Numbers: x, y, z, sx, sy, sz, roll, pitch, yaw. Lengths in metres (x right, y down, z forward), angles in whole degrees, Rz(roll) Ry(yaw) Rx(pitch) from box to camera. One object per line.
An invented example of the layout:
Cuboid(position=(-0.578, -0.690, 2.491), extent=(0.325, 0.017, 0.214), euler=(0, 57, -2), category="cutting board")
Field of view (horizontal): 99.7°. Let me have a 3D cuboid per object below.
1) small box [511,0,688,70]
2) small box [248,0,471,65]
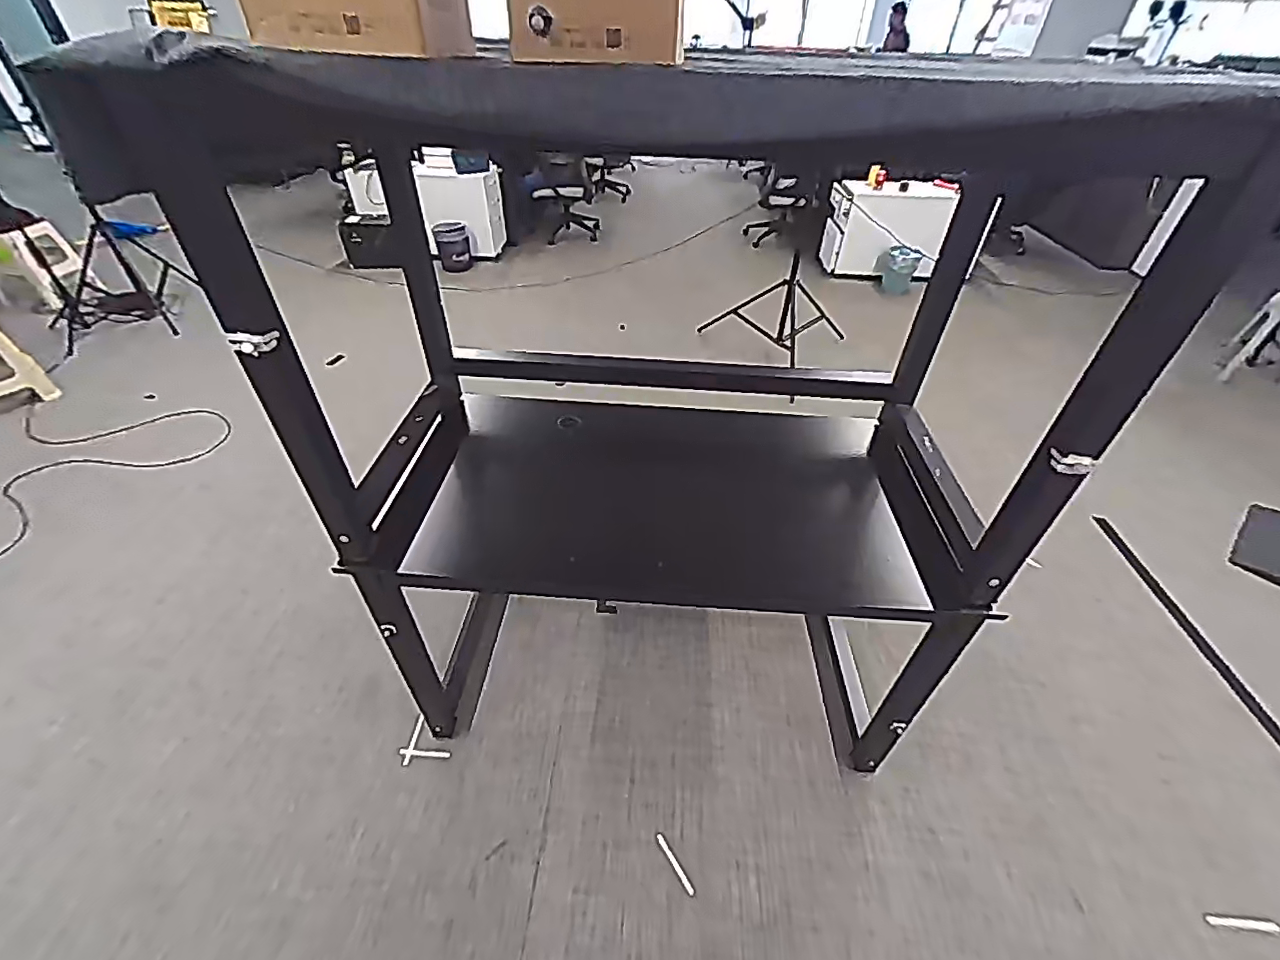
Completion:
Cuboid(position=(-0.035, -0.521, 0.545), extent=(0.168, 0.176, 0.179), euler=(5, 38, 3), category="small box")
Cuboid(position=(-0.278, -0.517, 0.533), extent=(0.168, 0.176, 0.179), euler=(4, 38, 1), category="small box")
